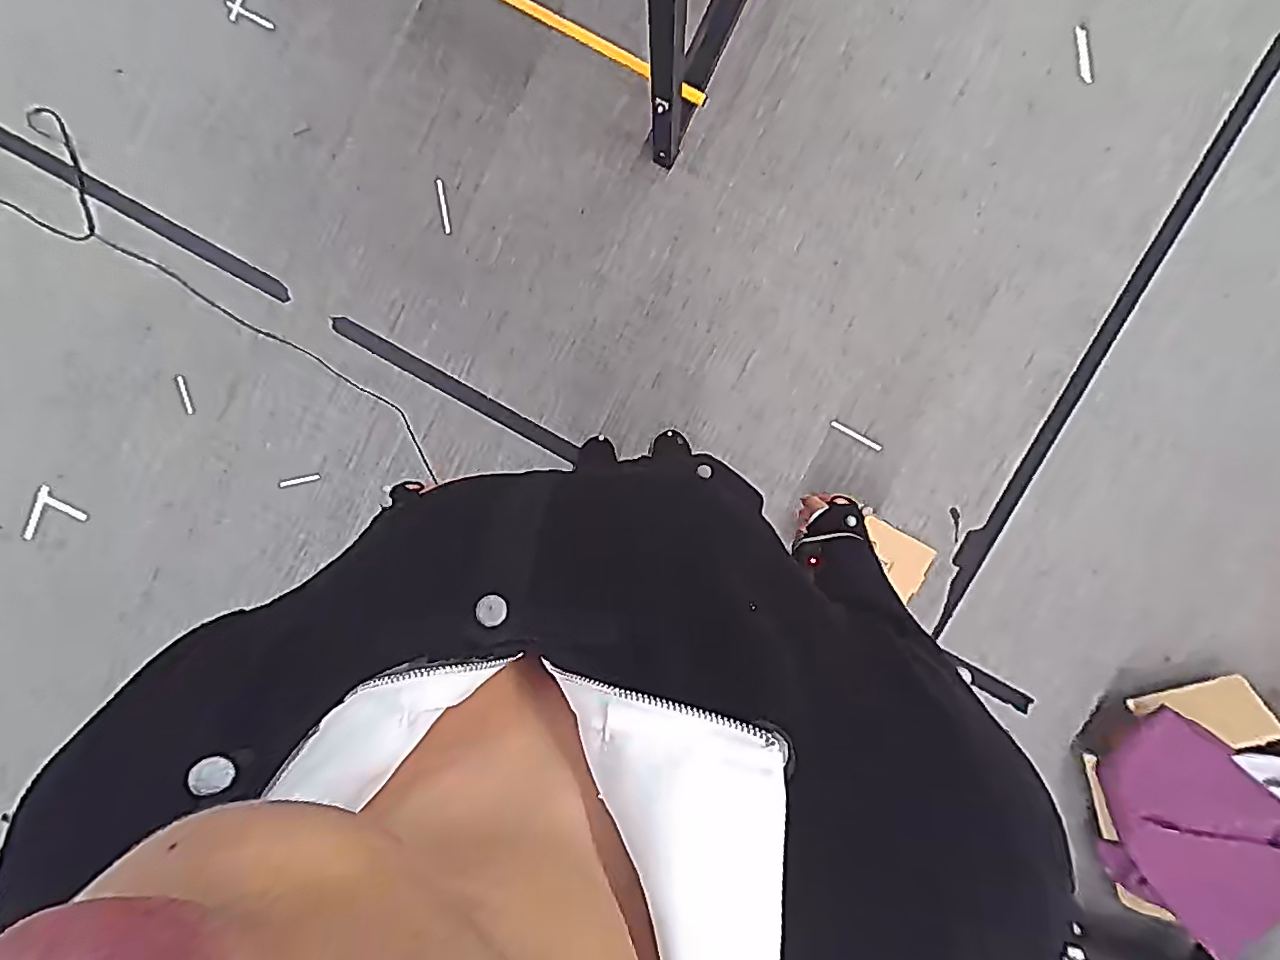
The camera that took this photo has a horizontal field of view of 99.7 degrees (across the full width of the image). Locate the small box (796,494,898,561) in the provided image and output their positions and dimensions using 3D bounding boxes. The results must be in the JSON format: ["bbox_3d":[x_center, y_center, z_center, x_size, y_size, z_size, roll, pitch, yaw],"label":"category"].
[{"bbox_3d":[0.527,0.155,1.410,0.168,0.176,0.179,30,95,-1],"label":"small box"}]

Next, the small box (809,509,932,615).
[{"bbox_3d":[0.521,0.178,1.250,0.179,0.176,0.168,28,94,1],"label":"small box"}]
